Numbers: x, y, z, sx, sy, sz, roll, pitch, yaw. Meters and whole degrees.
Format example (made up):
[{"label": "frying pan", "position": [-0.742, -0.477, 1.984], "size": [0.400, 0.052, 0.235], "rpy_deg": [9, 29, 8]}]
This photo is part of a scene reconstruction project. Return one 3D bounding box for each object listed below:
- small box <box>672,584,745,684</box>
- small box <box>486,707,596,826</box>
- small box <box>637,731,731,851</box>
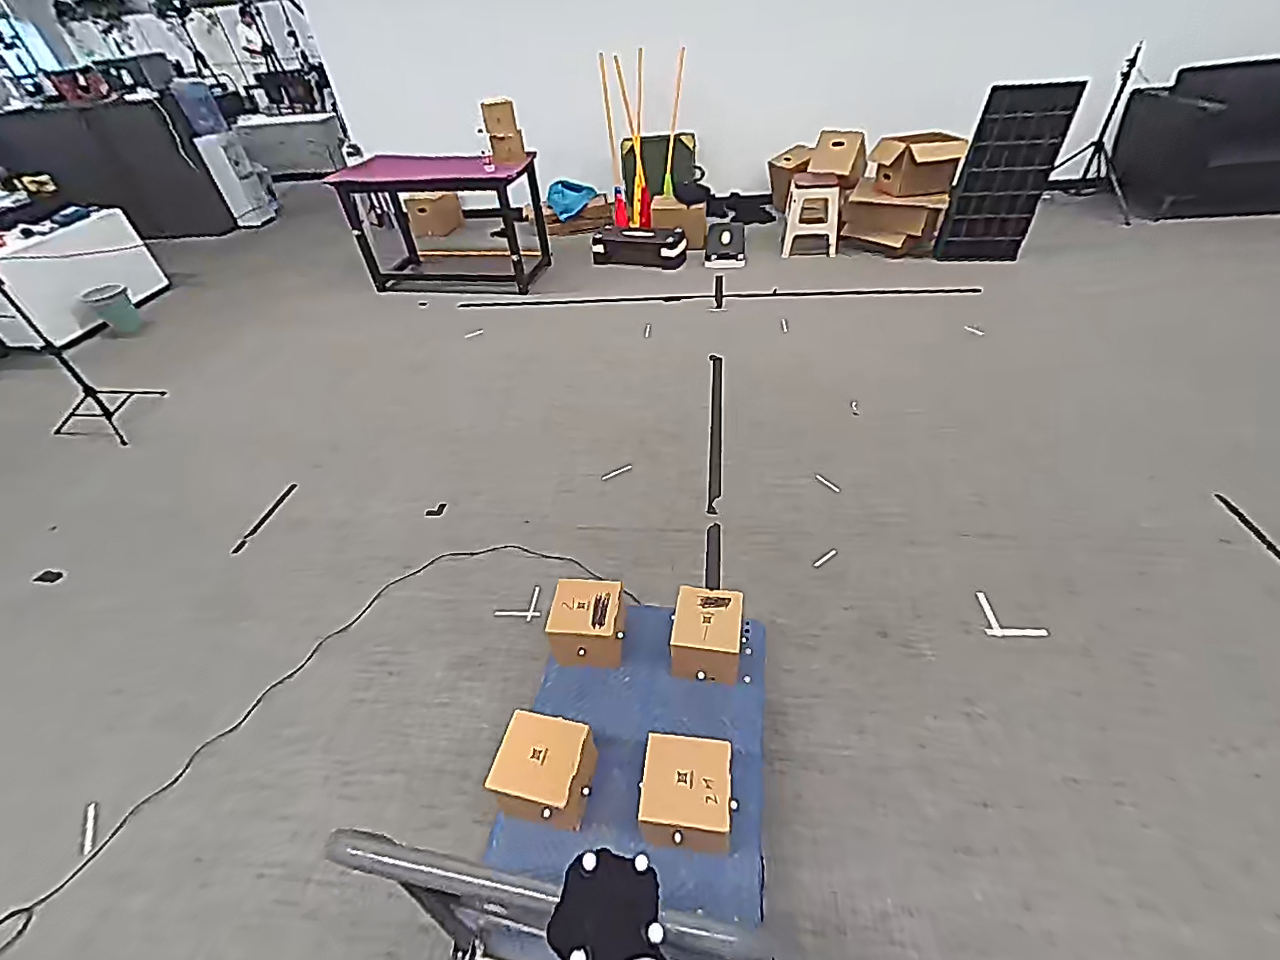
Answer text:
[{"label": "small box", "position": [0.177, 0.396, 1.395], "size": [0.168, 0.176, 0.179], "rpy_deg": [5, 44, 12]}, {"label": "small box", "position": [-0.206, 0.628, 1.183], "size": [0.179, 0.176, 0.168], "rpy_deg": [8, 43, 11]}, {"label": "small box", "position": [0.097, 0.649, 1.127], "size": [0.179, 0.176, 0.168], "rpy_deg": [3, 43, 9]}]
